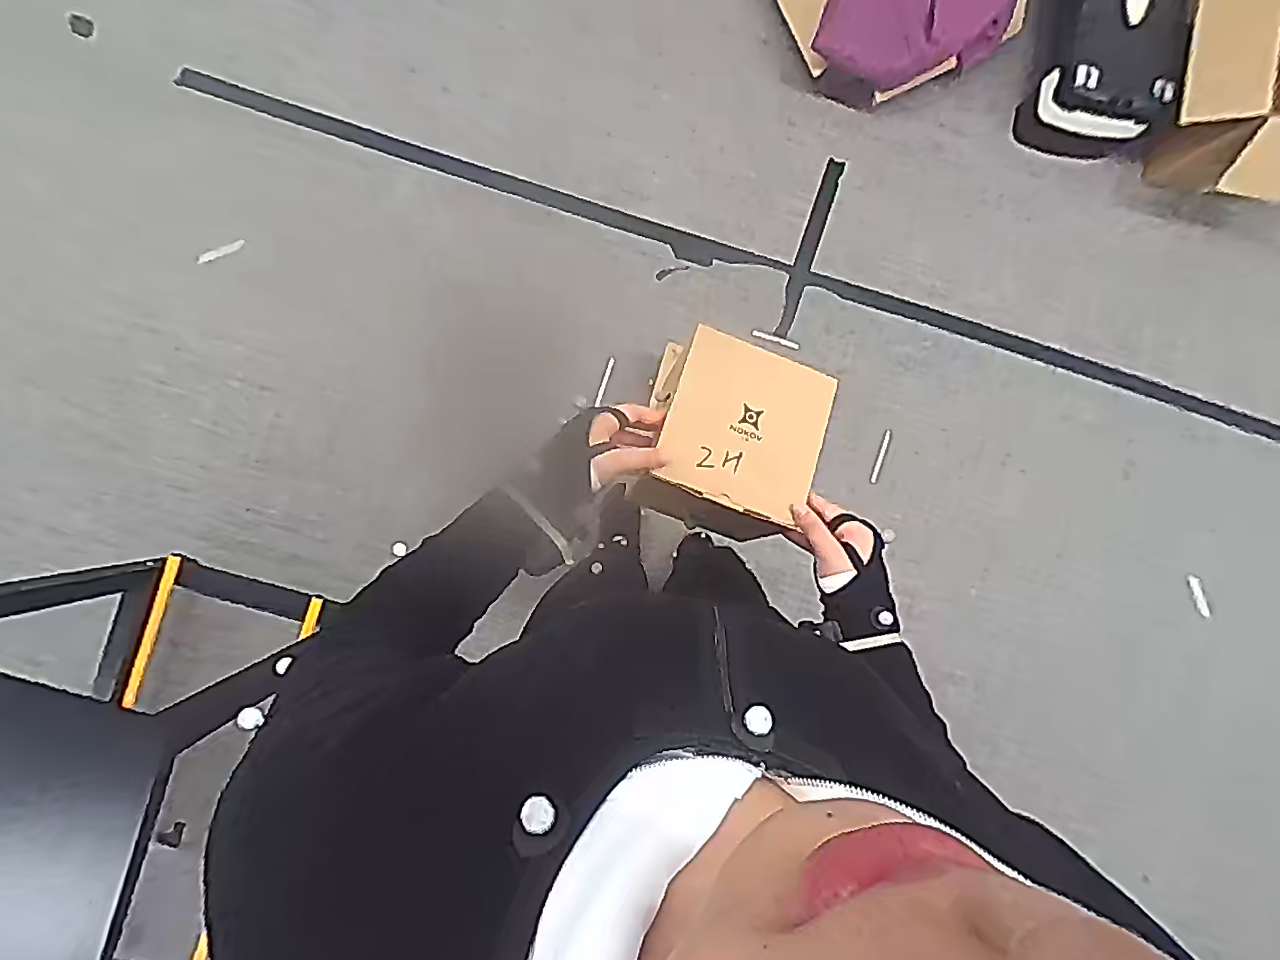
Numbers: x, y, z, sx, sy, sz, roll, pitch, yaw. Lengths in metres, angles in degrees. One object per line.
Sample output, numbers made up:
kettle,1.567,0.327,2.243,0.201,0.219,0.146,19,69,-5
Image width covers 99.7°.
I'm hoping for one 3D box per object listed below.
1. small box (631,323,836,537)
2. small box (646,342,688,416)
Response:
small box,0.098,-0.045,0.634,0.168,0.176,0.179,20,76,-5
small box,0.117,-0.237,1.417,0.168,0.176,0.179,17,90,-2
